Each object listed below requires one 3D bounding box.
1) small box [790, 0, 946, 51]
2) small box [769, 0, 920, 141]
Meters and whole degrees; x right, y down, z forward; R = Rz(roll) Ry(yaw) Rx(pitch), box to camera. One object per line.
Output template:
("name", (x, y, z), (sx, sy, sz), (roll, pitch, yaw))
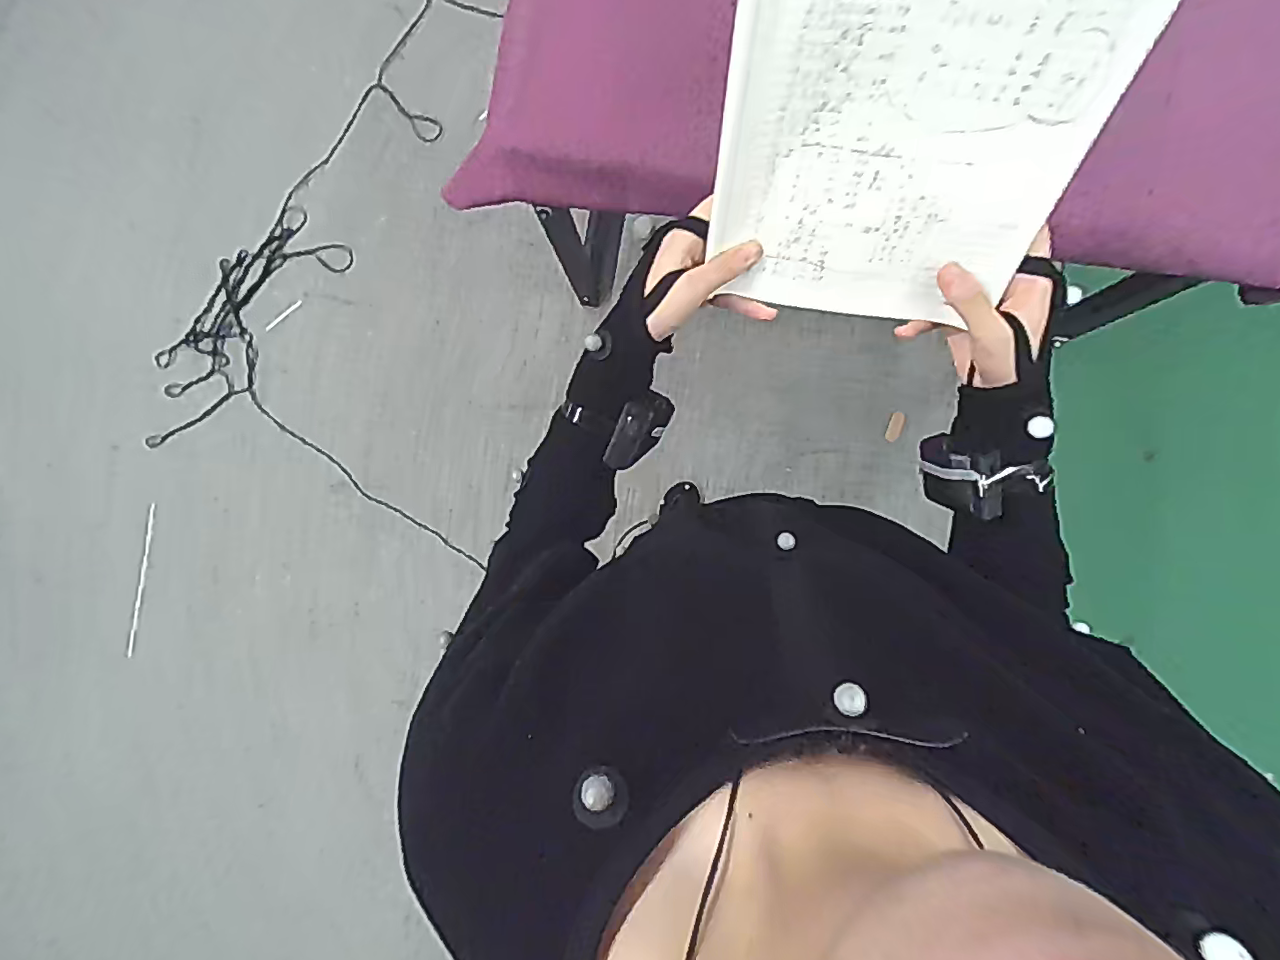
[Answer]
("small box", (0.266, -0.609, 0.575), (0.168, 0.176, 0.179), (11, 86, 5))
("small box", (0.280, -0.605, 0.740), (0.168, 0.176, 0.179), (10, 88, 5))
